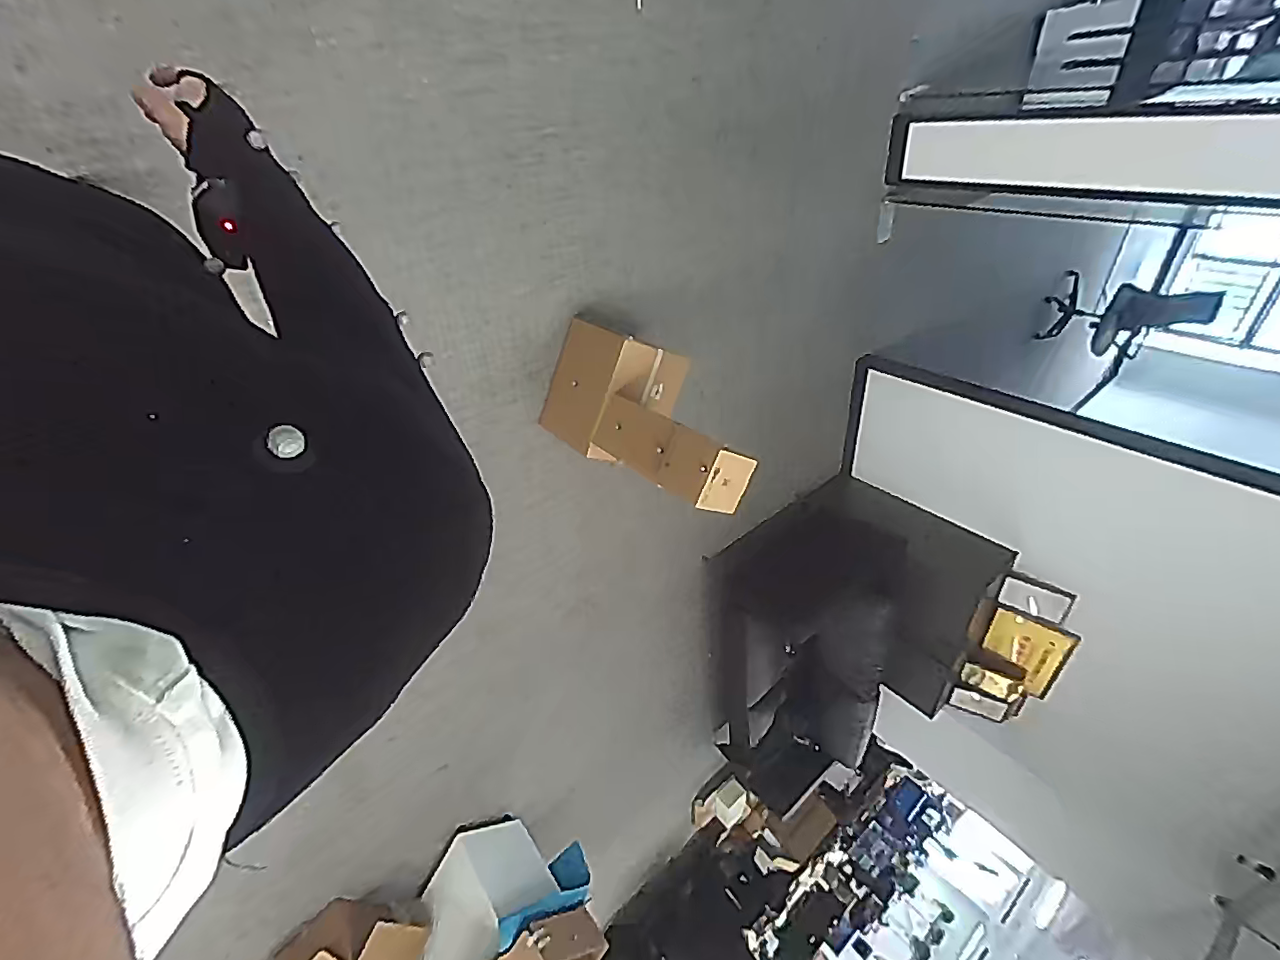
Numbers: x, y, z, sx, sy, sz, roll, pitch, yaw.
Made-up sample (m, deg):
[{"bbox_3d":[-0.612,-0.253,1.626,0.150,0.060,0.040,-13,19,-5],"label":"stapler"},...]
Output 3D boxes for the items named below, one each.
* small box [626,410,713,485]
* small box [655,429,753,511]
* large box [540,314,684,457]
[{"bbox_3d":[0.081,-0.090,1.616,0.168,0.176,0.179,9,108,-45],"label":"small box"},{"bbox_3d":[0.174,-0.029,1.495,0.179,0.176,0.168,11,106,-46],"label":"small box"},{"bbox_3d":[-0.108,-0.323,1.907,0.320,0.320,0.408,3,112,-46],"label":"large box"}]
